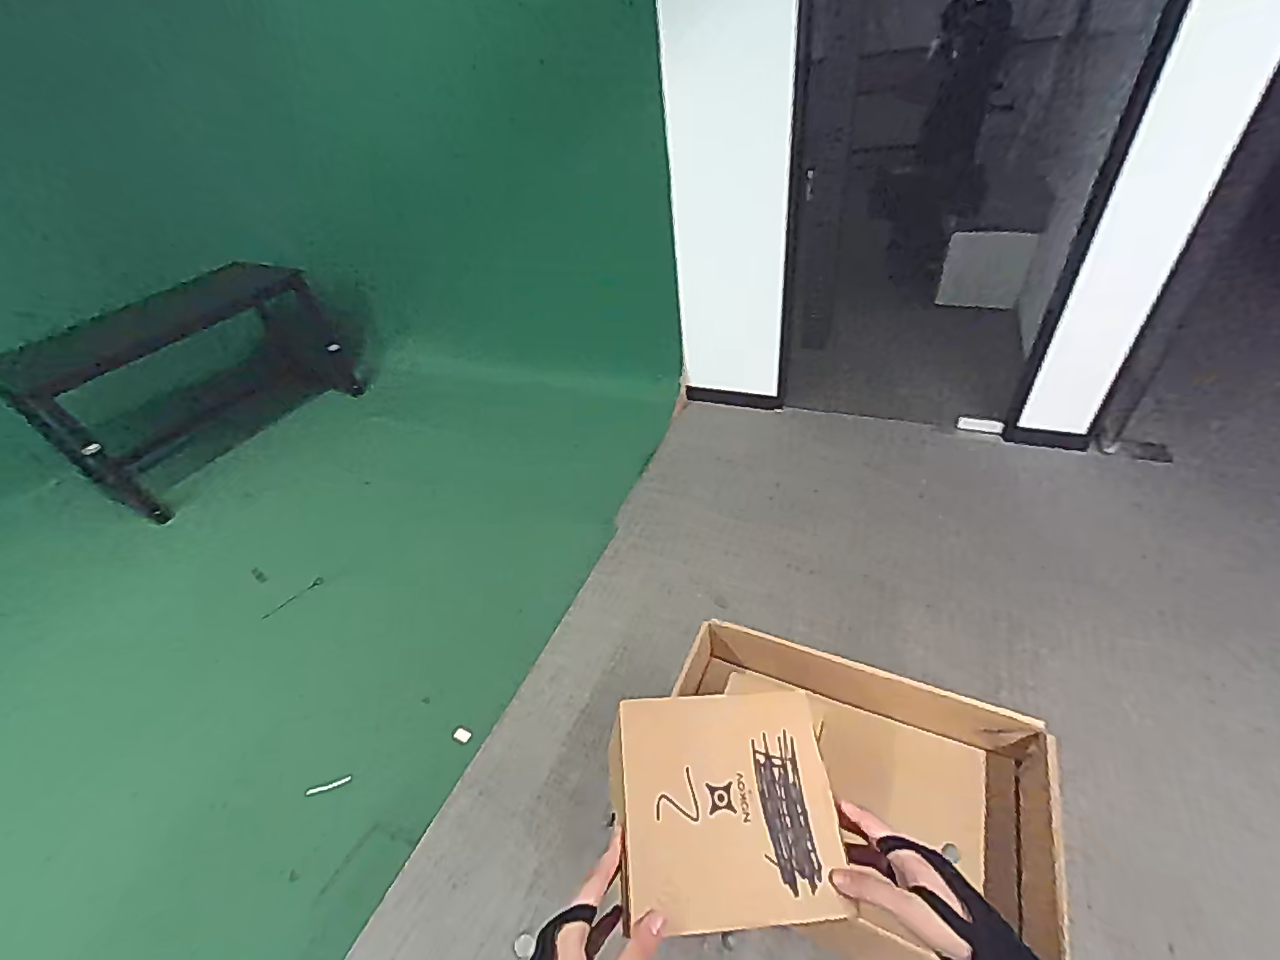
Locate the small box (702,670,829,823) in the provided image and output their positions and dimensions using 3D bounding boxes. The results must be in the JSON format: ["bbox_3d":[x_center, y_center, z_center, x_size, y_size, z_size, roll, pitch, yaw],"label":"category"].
[{"bbox_3d":[0.225,0.481,0.972,0.179,0.176,0.168,13,45,24],"label":"small box"}]
